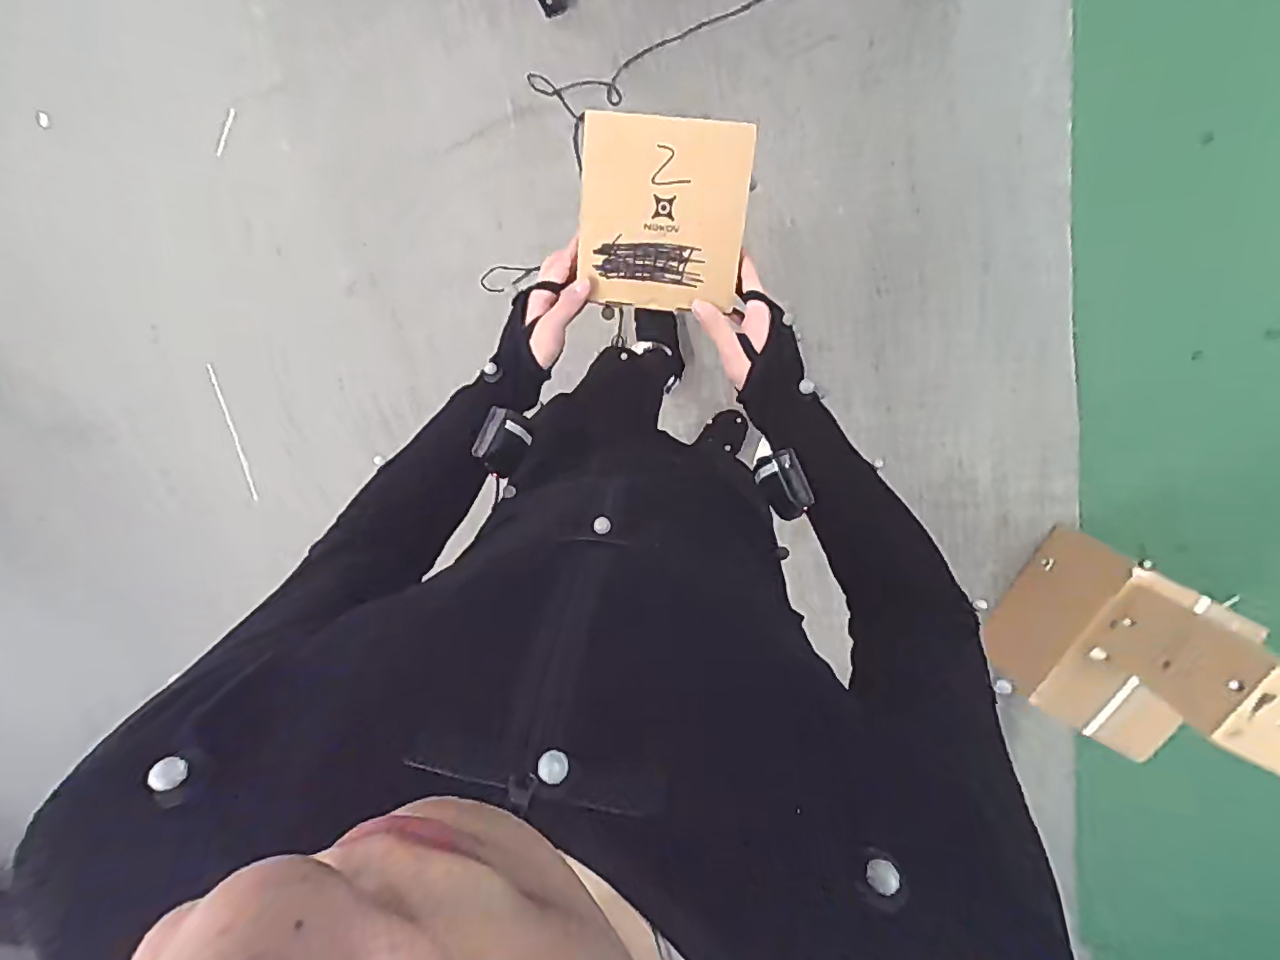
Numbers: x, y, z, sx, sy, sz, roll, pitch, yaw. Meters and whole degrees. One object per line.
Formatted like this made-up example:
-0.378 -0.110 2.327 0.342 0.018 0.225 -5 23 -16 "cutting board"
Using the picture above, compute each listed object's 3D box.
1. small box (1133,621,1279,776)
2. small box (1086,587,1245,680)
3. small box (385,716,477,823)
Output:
1.082 0.388 0.985 0.179 0.176 0.168 26 106 2 "small box"
1.117 0.353 1.142 0.179 0.176 0.168 27 106 3 "small box"
-0.576 0.799 1.512 0.168 0.176 0.179 19 105 4 "small box"
